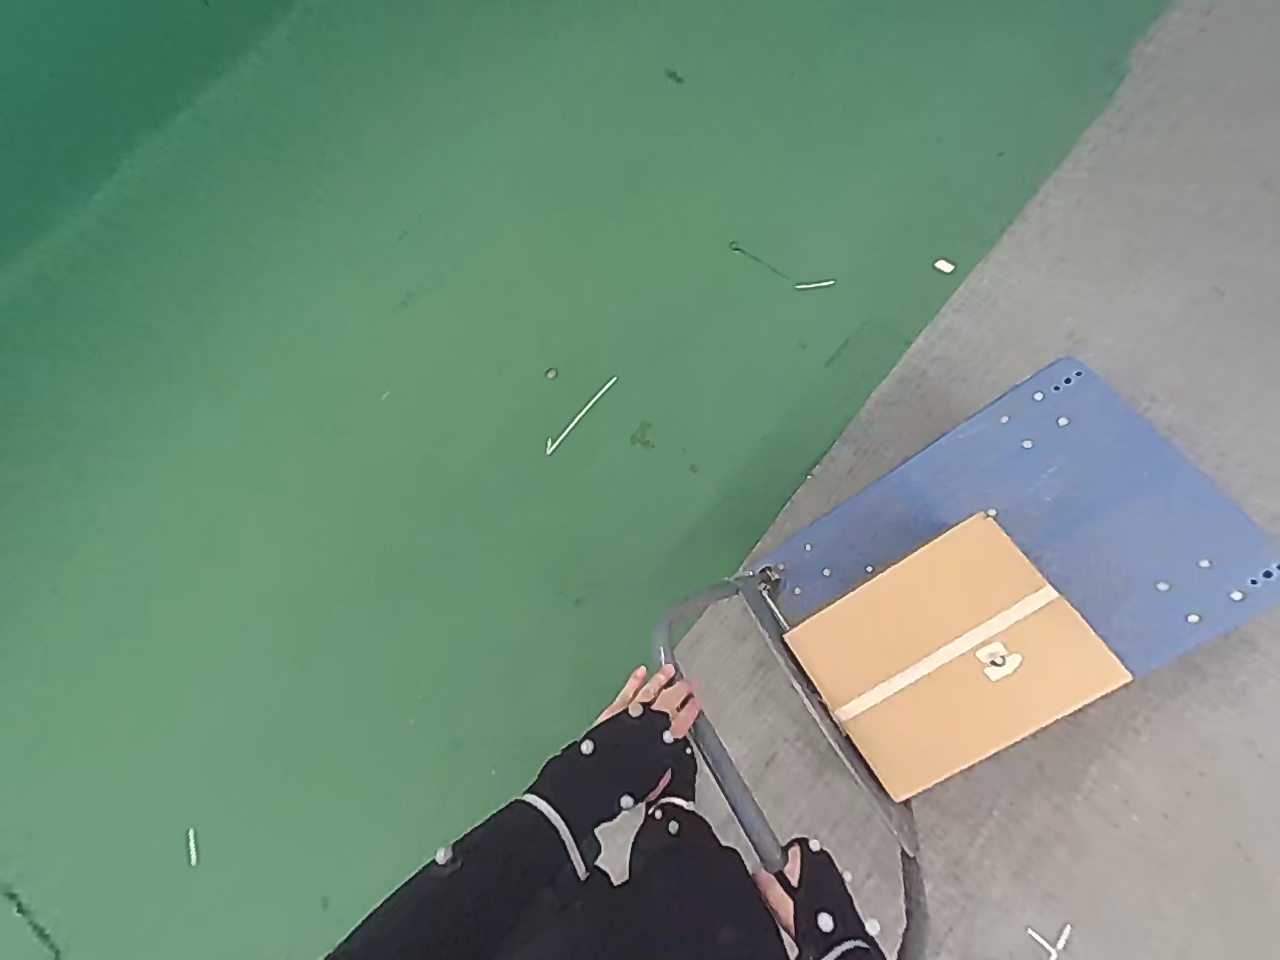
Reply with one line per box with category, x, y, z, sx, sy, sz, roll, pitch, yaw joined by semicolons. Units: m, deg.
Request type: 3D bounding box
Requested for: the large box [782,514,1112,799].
large box;0.538;0.320;1.043;0.408;0.320;0.320;-36;71;10
